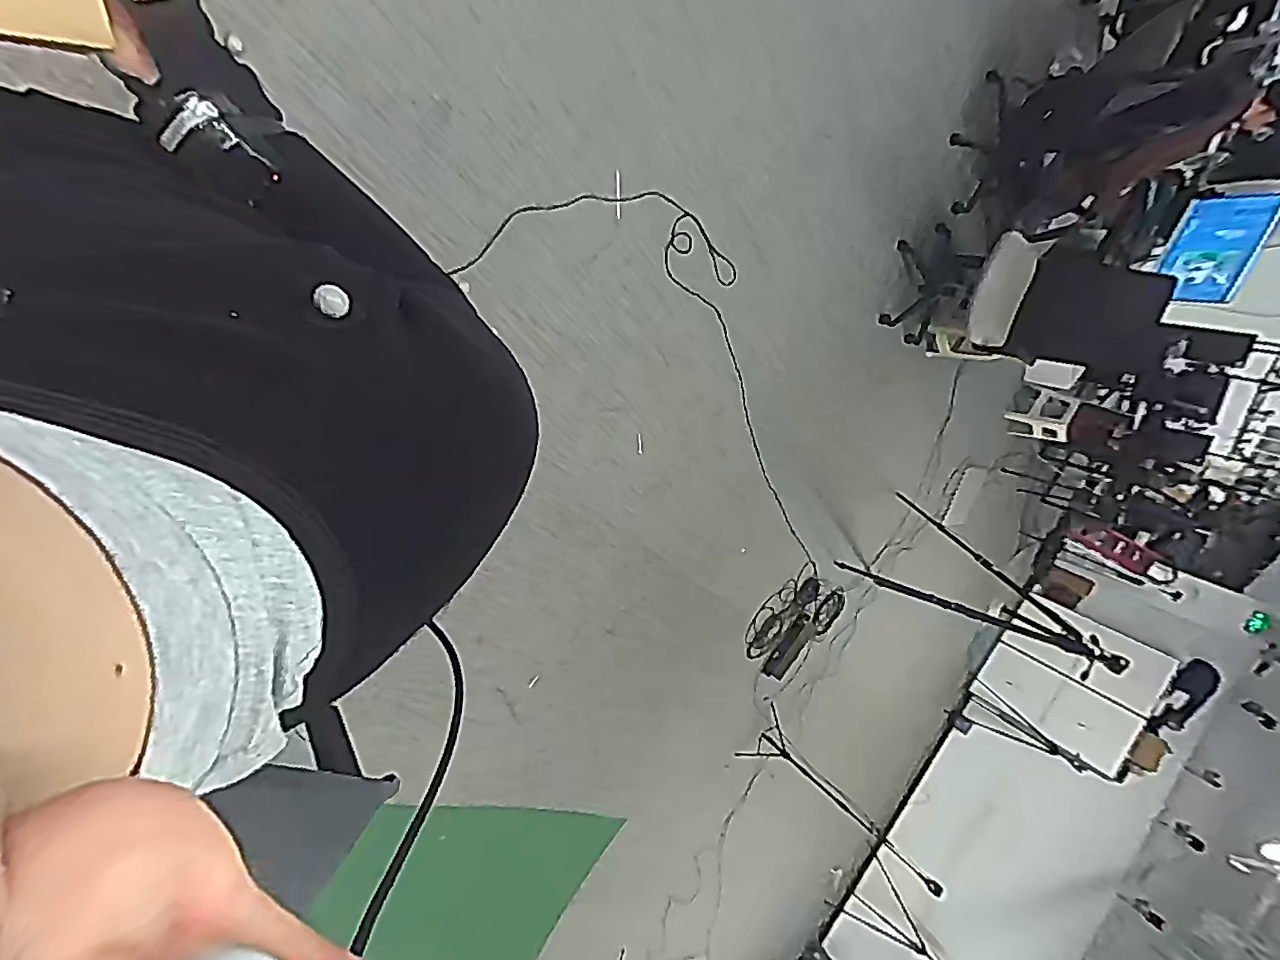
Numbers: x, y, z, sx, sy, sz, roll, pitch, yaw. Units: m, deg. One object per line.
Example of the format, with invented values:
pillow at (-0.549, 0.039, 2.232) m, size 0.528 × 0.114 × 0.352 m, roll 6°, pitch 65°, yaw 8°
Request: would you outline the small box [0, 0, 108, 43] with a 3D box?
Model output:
small box at (-0.403, -0.325, 0.255) m, size 0.179 × 0.176 × 0.168 m, roll -22°, pitch 133°, yaw -38°
